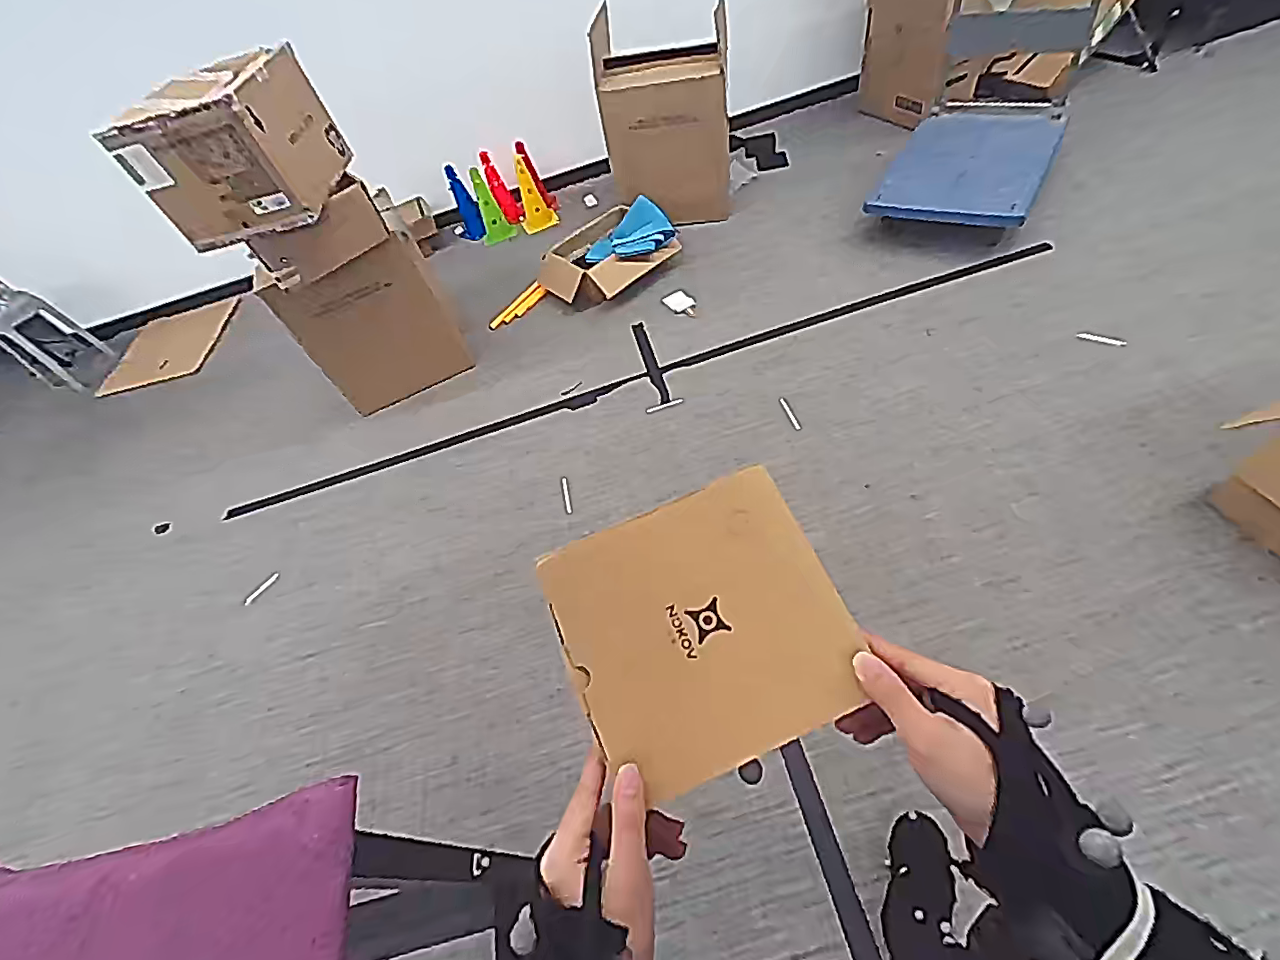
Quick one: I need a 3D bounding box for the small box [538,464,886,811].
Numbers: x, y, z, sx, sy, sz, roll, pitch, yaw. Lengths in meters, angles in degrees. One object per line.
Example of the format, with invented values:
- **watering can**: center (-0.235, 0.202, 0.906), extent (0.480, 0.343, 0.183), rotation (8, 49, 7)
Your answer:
- **small box**: center (0.045, 0.116, 0.418), extent (0.179, 0.176, 0.168), rotation (-24, 69, -3)
